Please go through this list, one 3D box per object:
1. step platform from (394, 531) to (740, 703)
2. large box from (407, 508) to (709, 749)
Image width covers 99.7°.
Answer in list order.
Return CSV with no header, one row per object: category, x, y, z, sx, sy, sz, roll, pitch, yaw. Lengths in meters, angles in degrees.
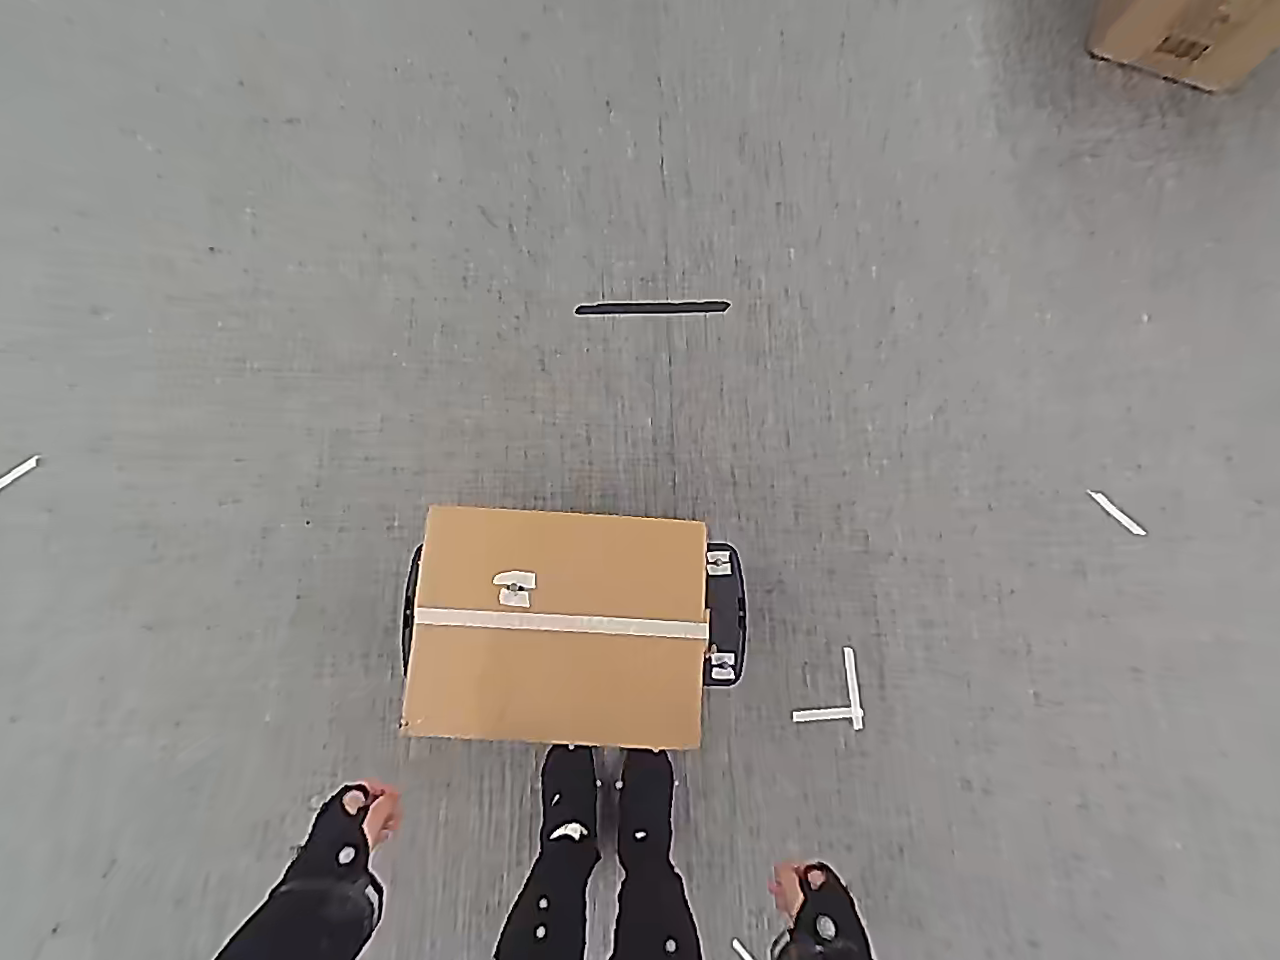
step platform,-0.137,0.277,1.123,0.684,0.204,0.286,5,78,0
large box,-0.105,0.226,0.890,0.408,0.320,0.320,3,78,0
